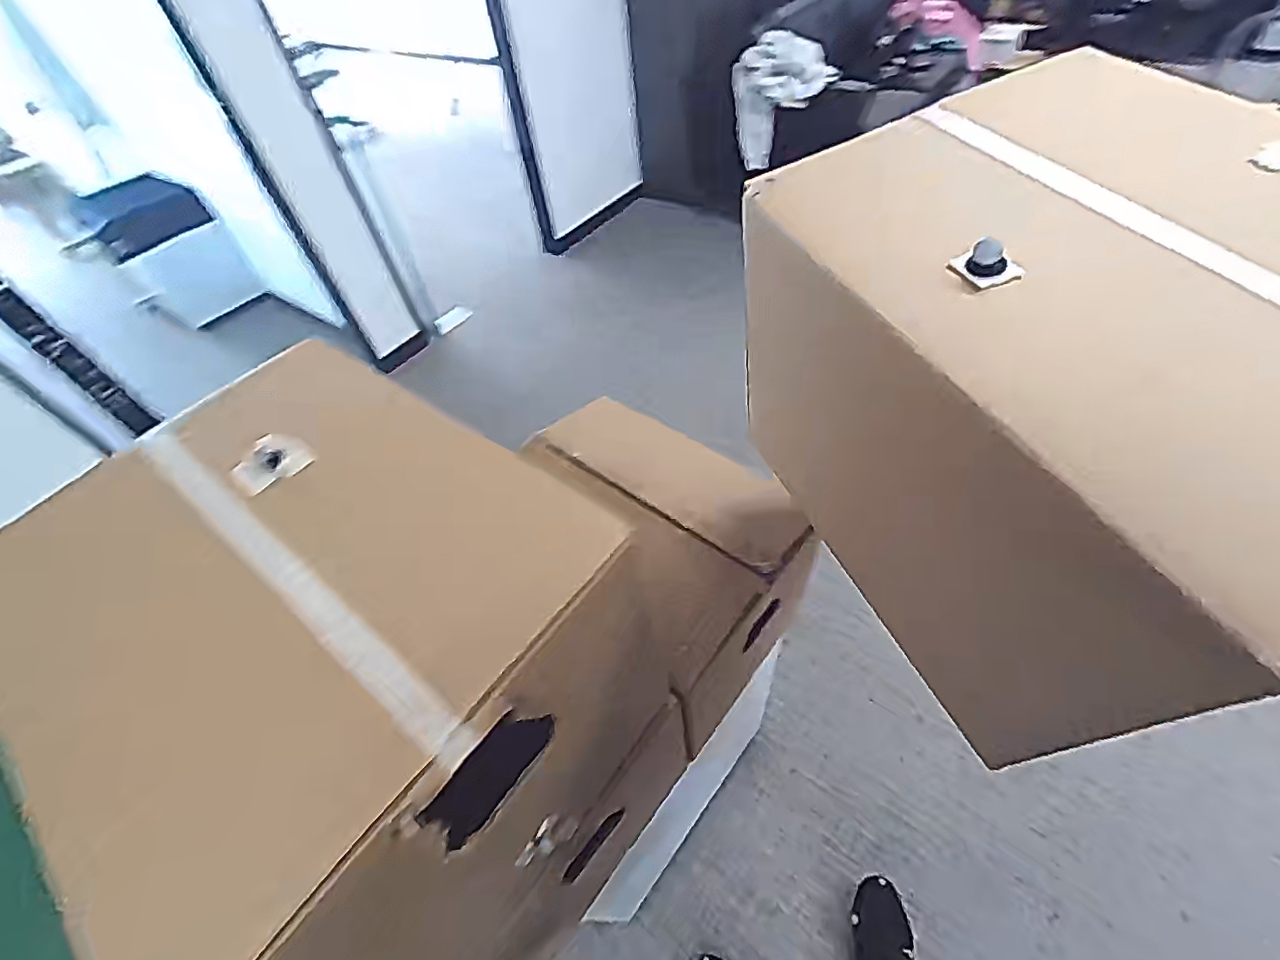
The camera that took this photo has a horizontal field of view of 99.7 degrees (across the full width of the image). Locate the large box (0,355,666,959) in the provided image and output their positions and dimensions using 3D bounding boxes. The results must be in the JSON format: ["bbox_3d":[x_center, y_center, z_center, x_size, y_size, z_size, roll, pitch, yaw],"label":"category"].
[{"bbox_3d":[-0.234,0.149,0.482,0.408,0.320,0.320,27,59,28],"label":"large box"}]
